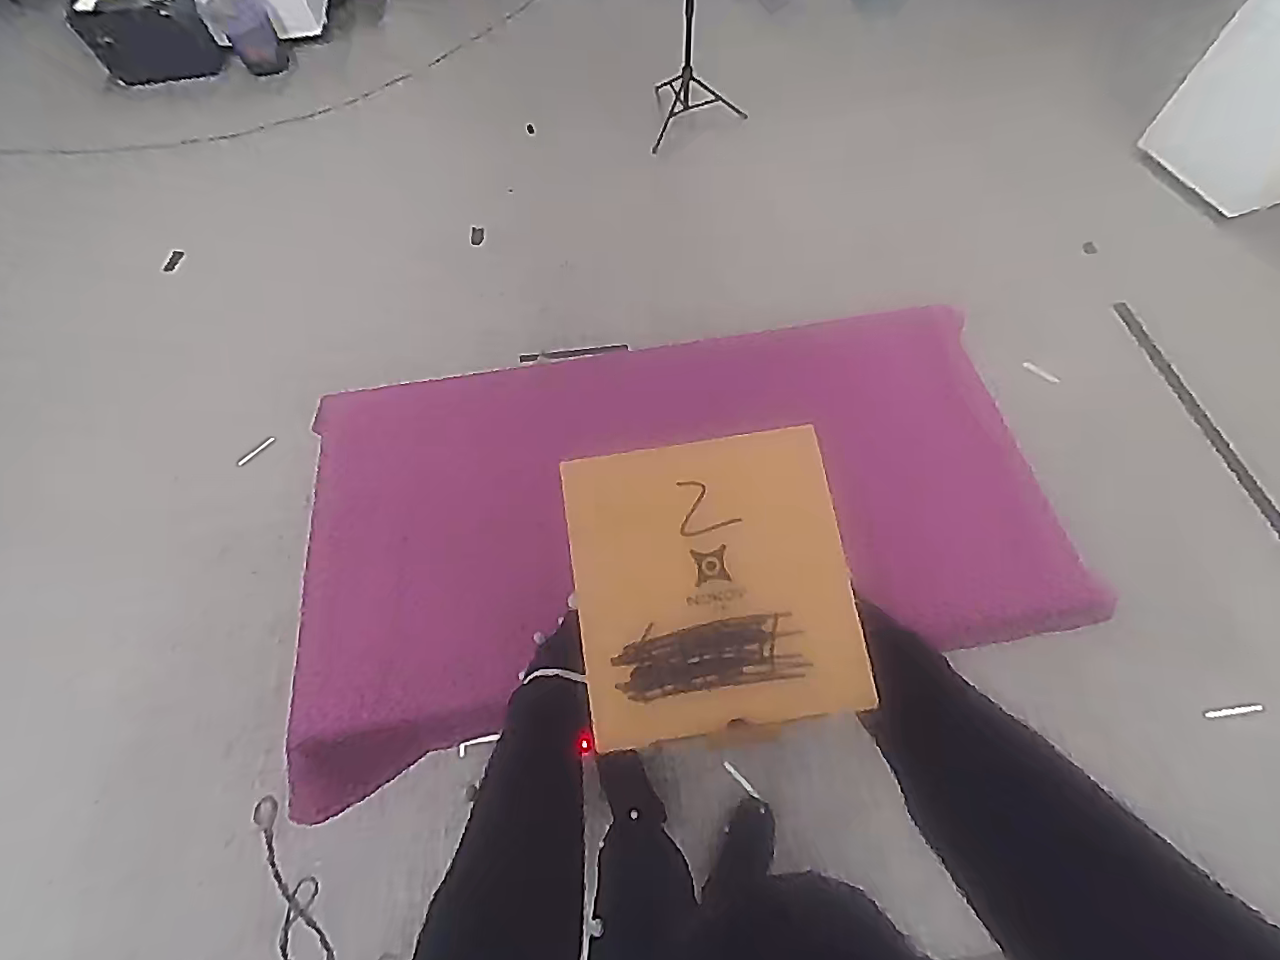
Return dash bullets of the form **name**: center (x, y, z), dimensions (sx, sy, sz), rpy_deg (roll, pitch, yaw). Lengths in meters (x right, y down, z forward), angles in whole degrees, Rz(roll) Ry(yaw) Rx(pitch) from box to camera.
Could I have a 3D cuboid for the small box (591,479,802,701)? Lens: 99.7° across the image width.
- **small box**: center (0.047, 0.113, 0.564), dimensions (0.168, 0.176, 0.179), rpy_deg (-11, 78, -1)
